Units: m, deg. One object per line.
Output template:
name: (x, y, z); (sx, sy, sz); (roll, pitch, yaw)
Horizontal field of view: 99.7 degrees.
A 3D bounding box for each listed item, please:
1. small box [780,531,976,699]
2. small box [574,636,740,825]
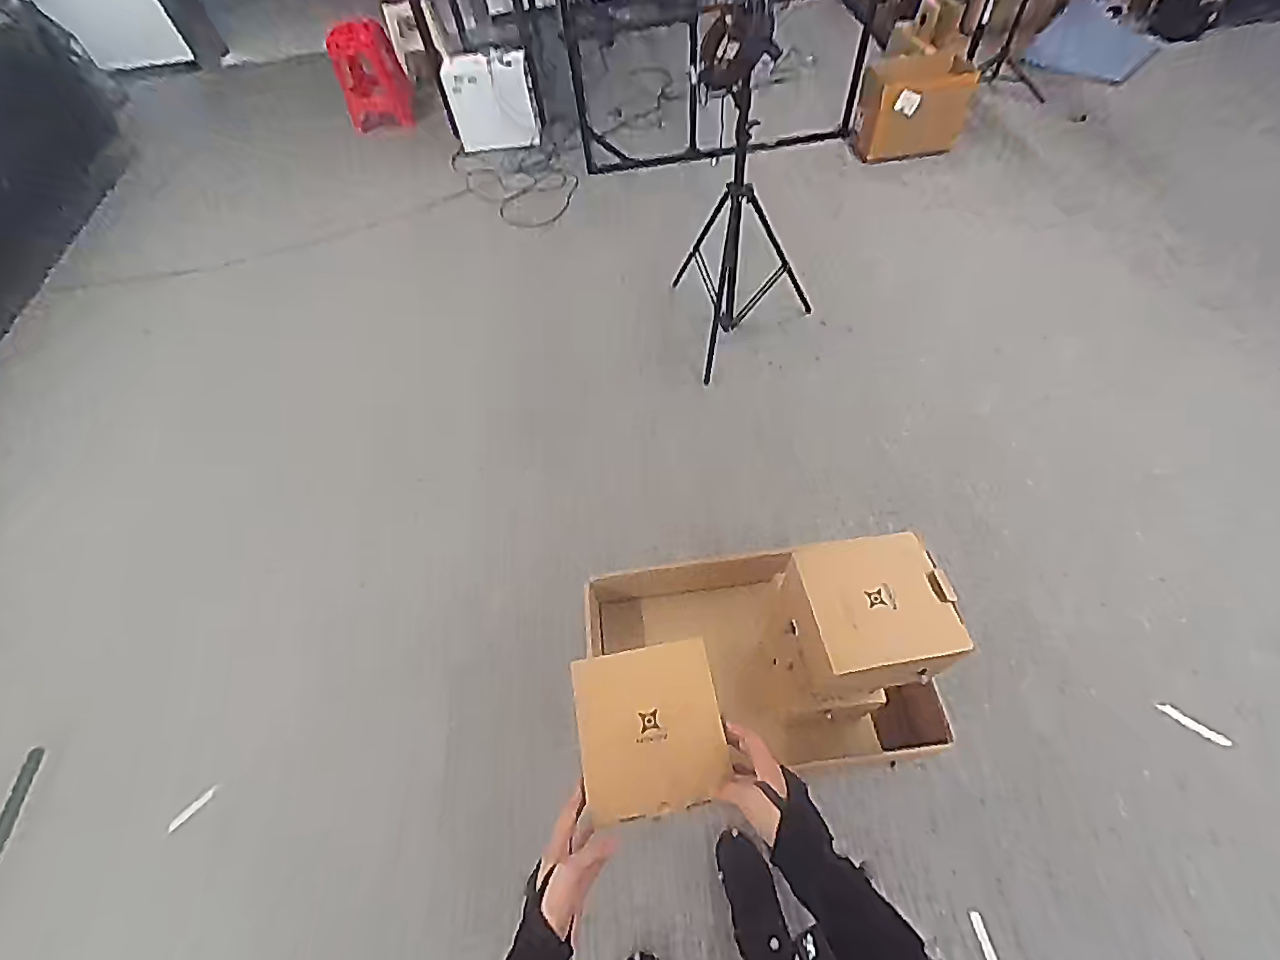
small box: (0.310, 0.191, 0.749); (0.179, 0.176, 0.168); (-10, 56, -1)
small box: (0.016, 0.315, 0.682); (0.168, 0.176, 0.179); (-10, 61, -3)
